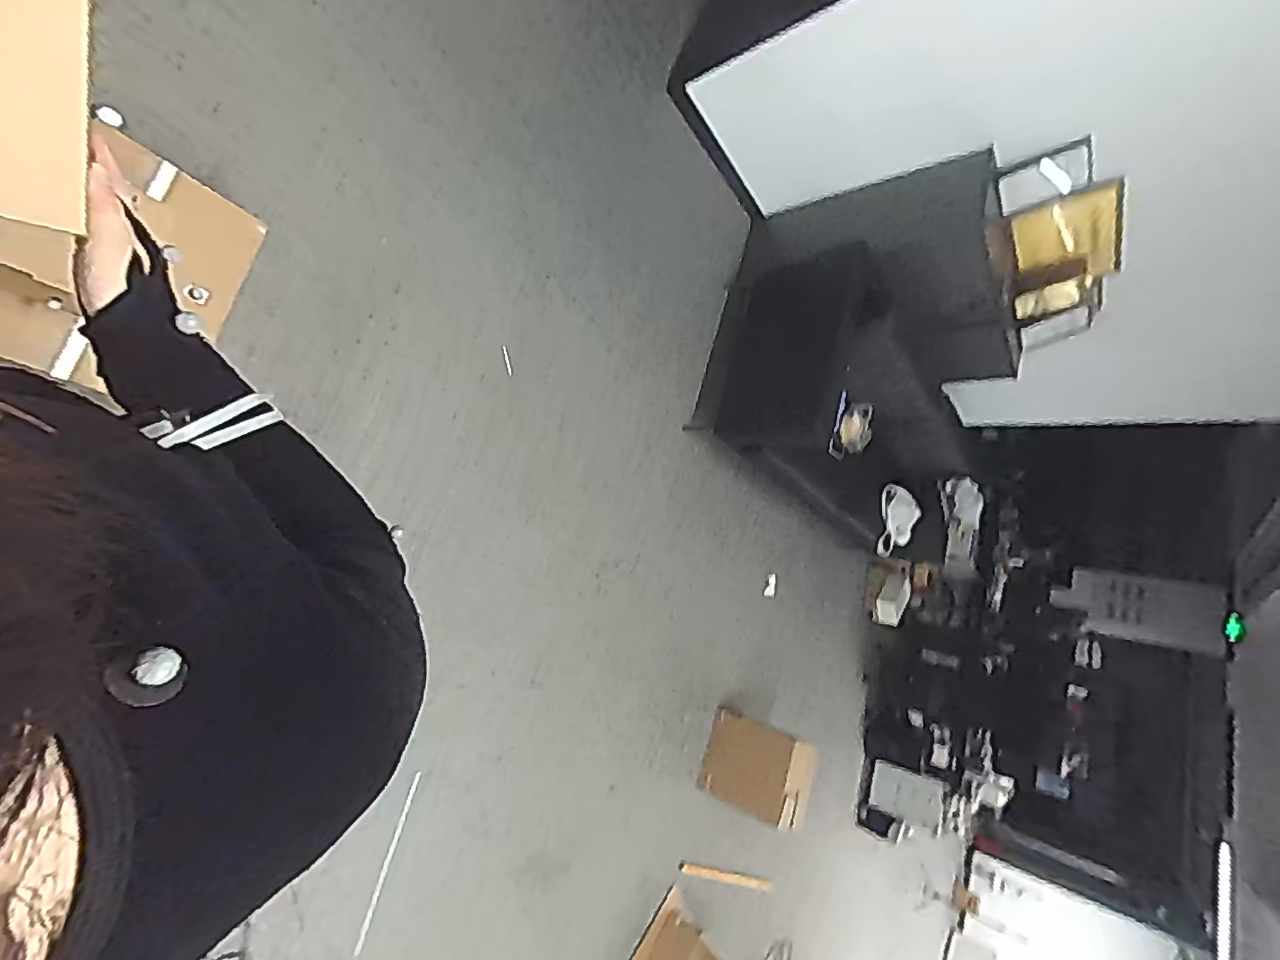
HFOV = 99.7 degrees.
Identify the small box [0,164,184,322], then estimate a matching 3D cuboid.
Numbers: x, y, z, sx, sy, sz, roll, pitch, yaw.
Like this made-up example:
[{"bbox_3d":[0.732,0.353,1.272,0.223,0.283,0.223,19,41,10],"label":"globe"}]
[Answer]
[{"bbox_3d":[-0.813,-0.353,0.795,0.168,0.176,0.179,24,76,-45],"label":"small box"}]
